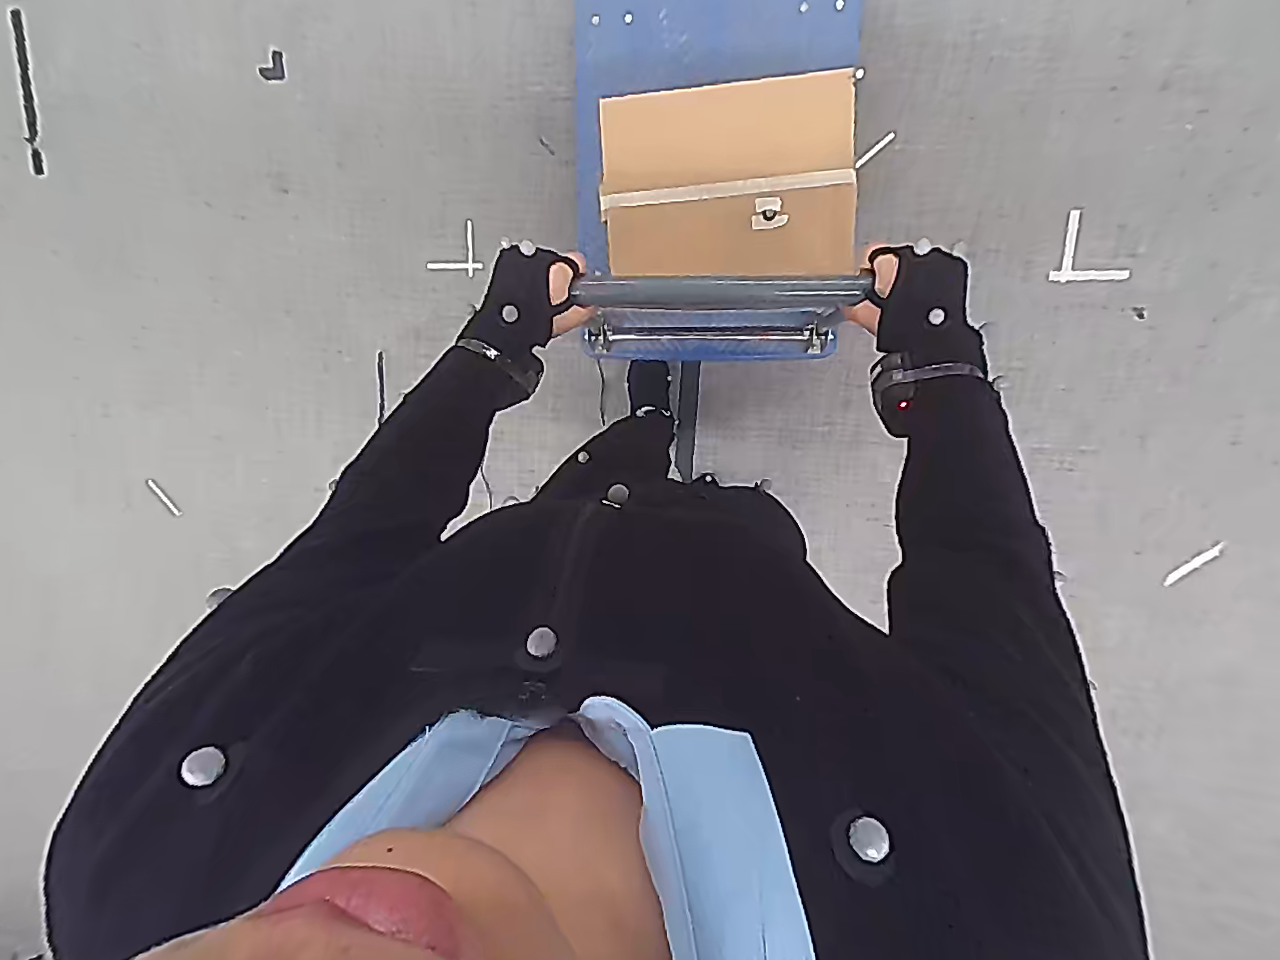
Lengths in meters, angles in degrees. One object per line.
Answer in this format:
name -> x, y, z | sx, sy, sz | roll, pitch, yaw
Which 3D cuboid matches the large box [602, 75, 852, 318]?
large box -> 0.157, -0.503, 1.042 | 0.408, 0.320, 0.320 | -3, 101, 5
